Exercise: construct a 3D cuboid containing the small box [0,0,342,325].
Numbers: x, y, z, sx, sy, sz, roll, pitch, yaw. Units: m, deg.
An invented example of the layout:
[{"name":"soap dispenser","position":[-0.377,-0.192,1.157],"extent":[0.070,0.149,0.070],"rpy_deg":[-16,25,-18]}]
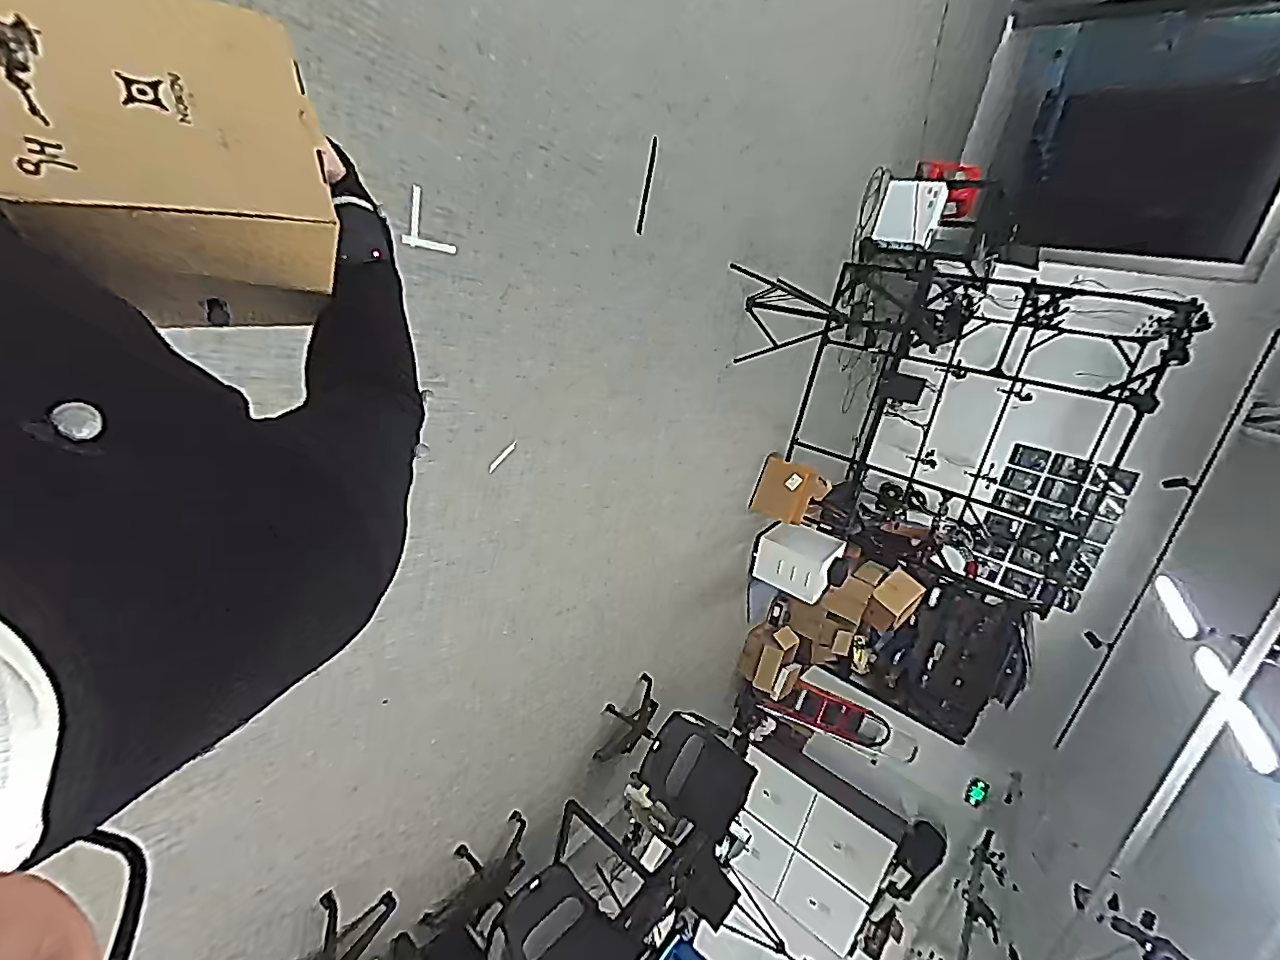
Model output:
[{"name":"small box","position":[-0.363,-0.238,0.437],"extent":[0.179,0.176,0.168],"rpy_deg":[-13,84,-35]}]
